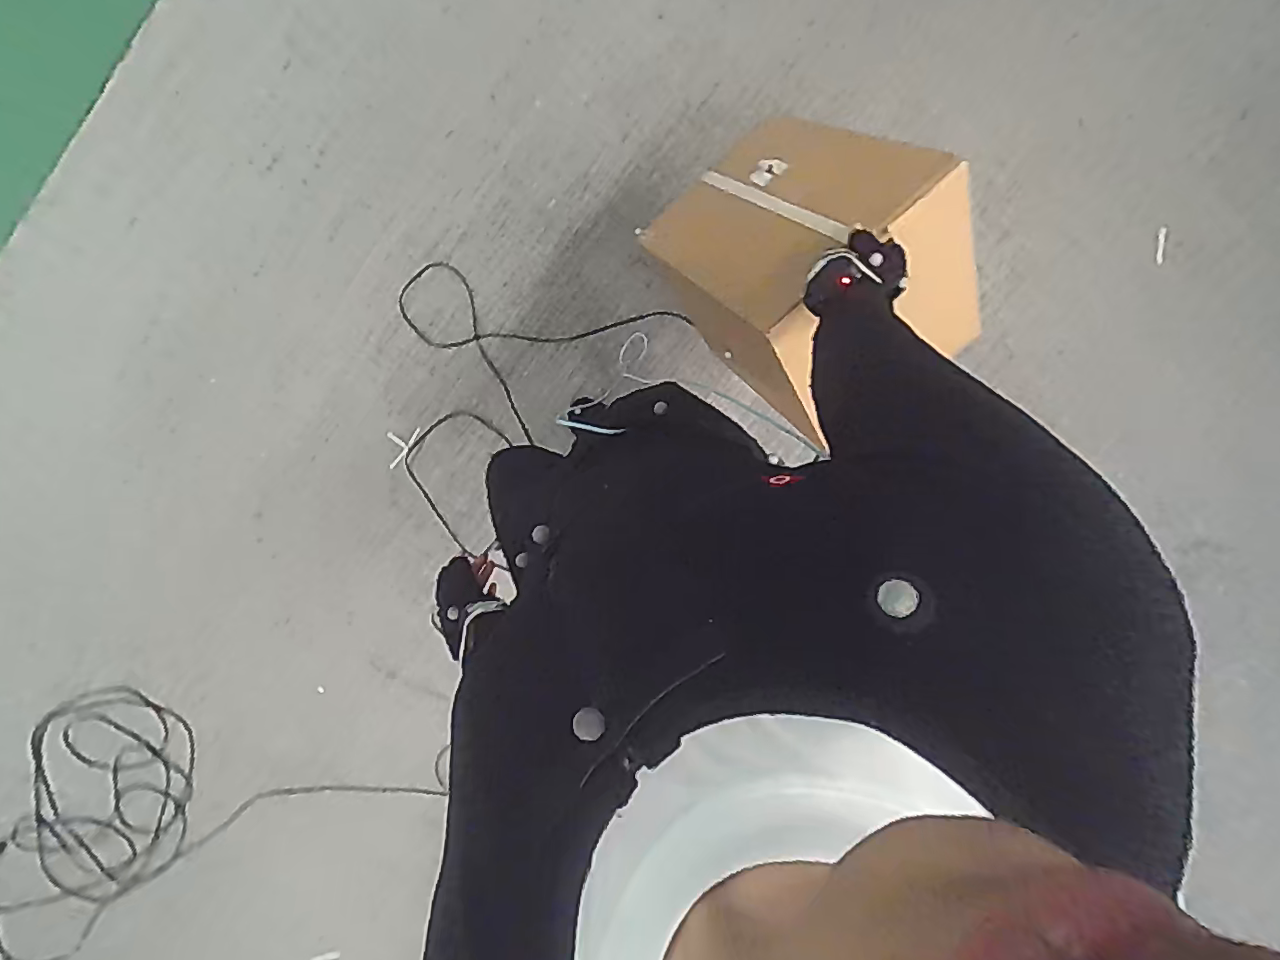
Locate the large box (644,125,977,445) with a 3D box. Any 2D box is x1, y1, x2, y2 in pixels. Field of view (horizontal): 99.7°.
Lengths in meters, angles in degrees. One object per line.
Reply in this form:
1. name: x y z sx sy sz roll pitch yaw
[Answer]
1. large box: 0.279 -0.334 0.924 0.320 0.408 0.320 -40 135 6
